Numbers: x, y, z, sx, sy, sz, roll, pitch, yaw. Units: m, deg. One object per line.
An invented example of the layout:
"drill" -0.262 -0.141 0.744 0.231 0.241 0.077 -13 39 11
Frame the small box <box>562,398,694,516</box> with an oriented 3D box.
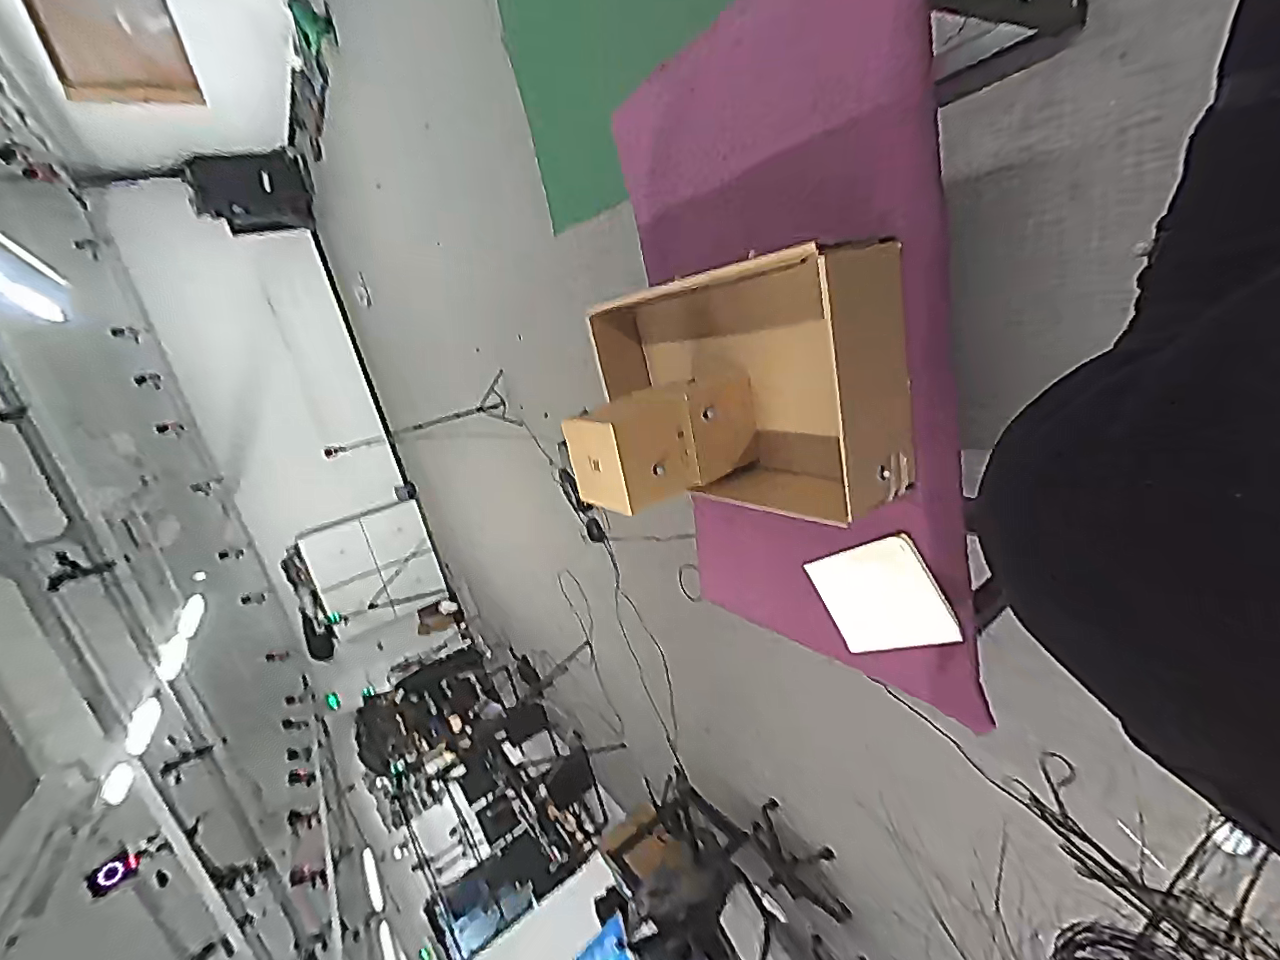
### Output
"small box" -0.015 -0.052 1.001 0.179 0.176 0.168 13 120 53
